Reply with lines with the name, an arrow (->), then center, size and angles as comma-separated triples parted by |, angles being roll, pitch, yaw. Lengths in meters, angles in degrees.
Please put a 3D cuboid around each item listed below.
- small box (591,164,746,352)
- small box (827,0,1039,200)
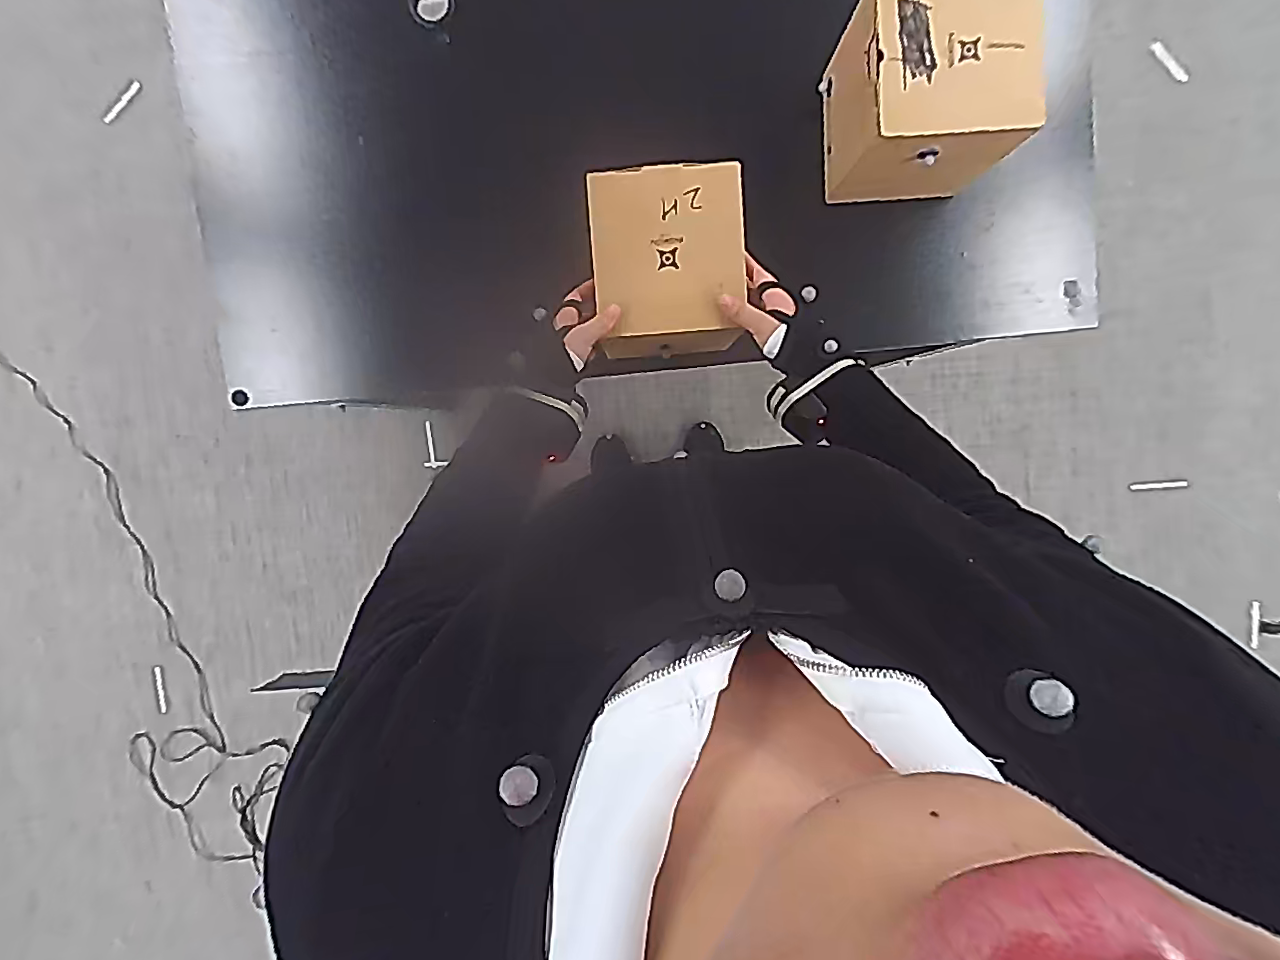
small box -> 0.034, -0.257, 0.670 | 0.168, 0.176, 0.179 | -4, 95, 1
small box -> 0.332, -0.454, 0.648 | 0.179, 0.176, 0.168 | -3, 95, 1
